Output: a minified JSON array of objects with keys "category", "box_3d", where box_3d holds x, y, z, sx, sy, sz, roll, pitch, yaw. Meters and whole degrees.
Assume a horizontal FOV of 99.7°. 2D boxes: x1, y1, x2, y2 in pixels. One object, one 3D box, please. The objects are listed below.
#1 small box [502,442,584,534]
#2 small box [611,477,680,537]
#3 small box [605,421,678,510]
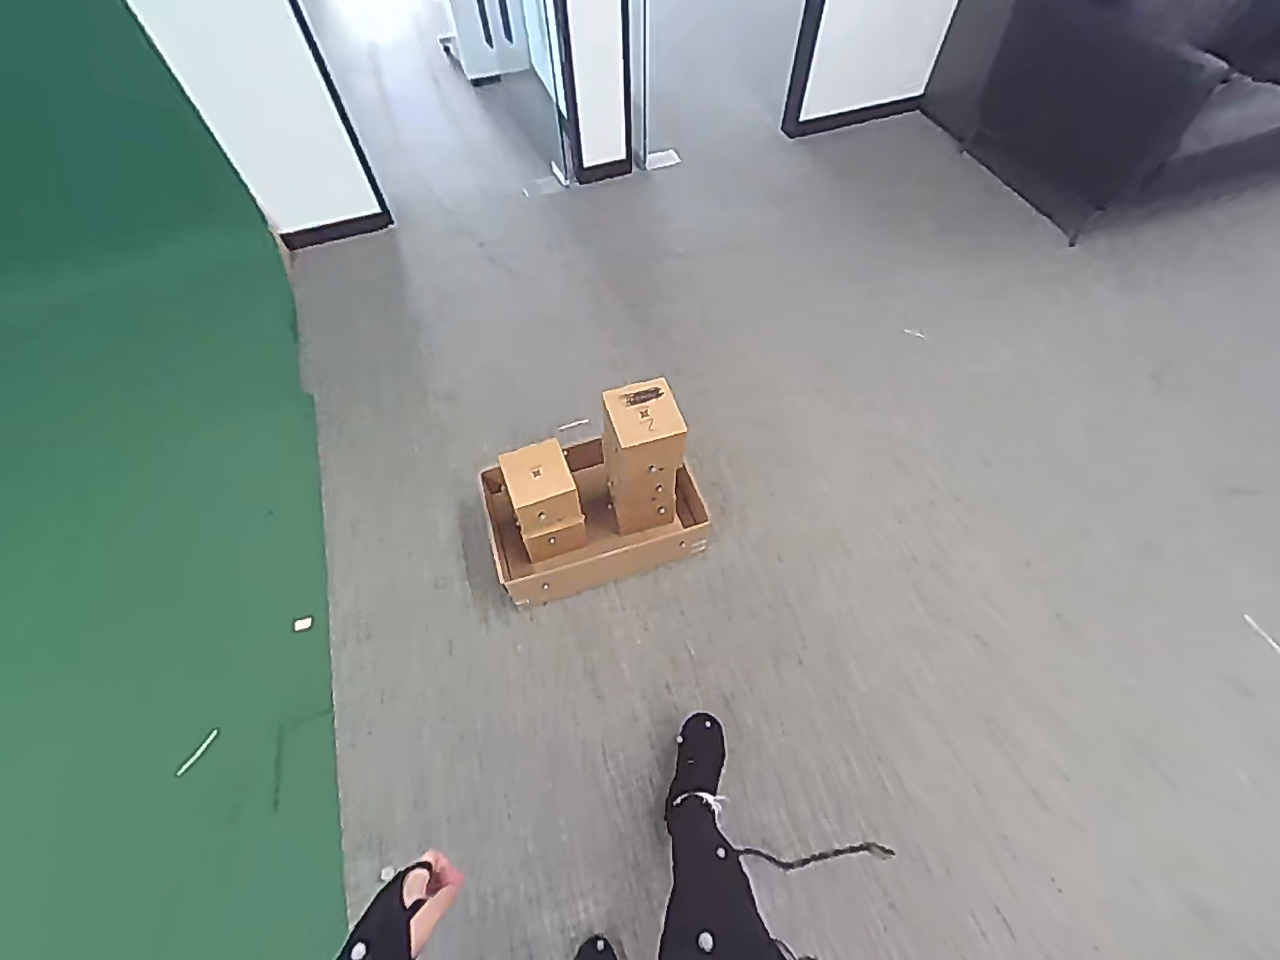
[{"category":"small box","box_3d":[-0.260,0.030,1.476,0.168,0.176,0.179,-19,60,-11]},{"category":"small box","box_3d":[0.013,0.054,1.646,0.179,0.176,0.168,-14,59,-6]},{"category":"small box","box_3d":[0.004,-0.032,1.507,0.168,0.176,0.179,-13,59,-7]}]
